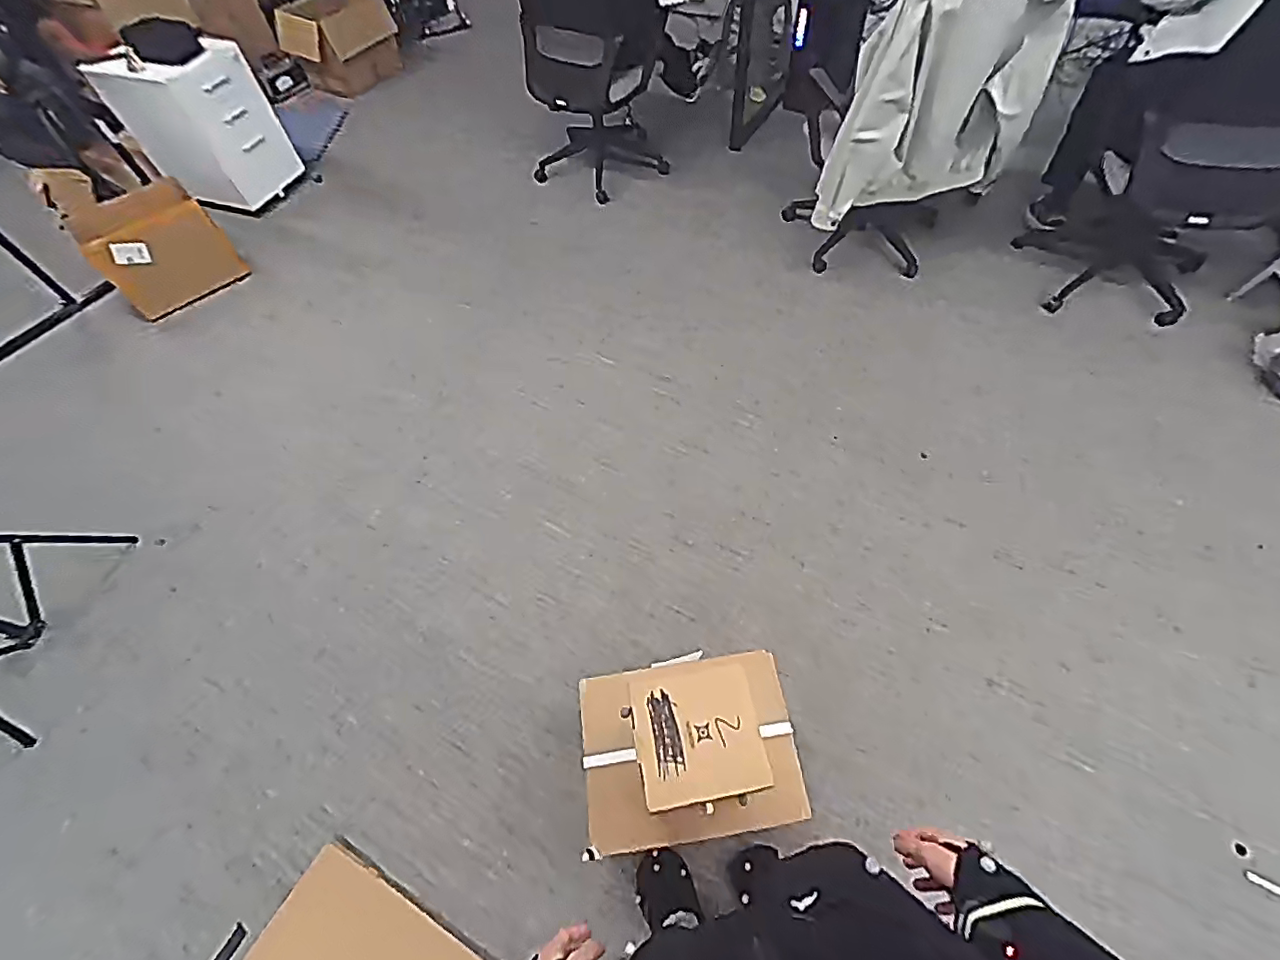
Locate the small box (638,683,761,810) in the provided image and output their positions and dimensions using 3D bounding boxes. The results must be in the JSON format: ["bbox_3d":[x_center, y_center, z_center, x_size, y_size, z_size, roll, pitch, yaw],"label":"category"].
[{"bbox_3d":[0.100,0.477,0.961,0.179,0.176,0.168,-10,58,-4],"label":"small box"}]
